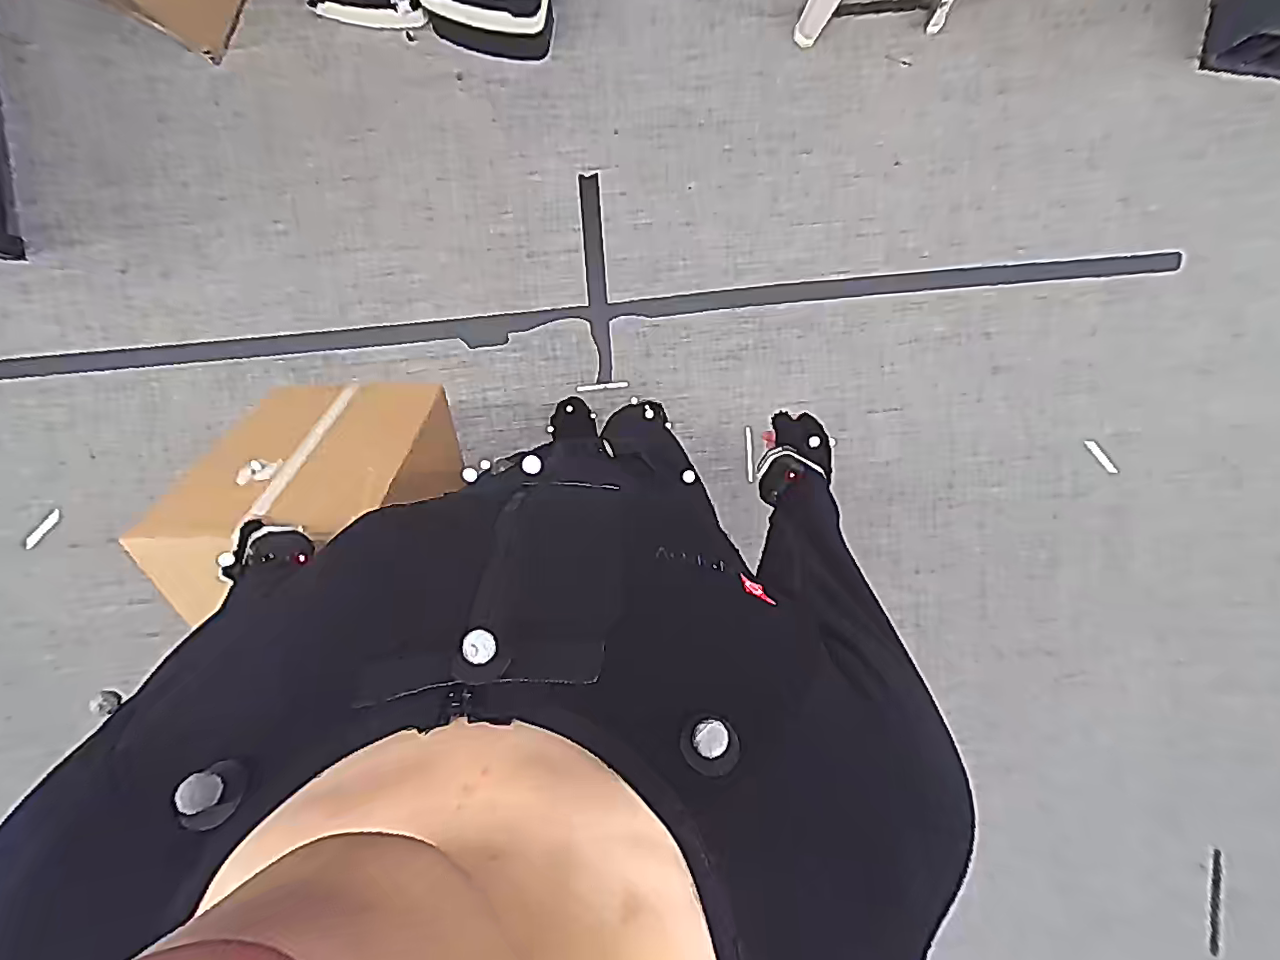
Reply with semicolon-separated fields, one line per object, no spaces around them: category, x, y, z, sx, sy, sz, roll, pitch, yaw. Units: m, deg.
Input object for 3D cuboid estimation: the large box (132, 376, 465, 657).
large box;-0.525;0.052;0.955;0.320;0.408;0.320;-2;131;-1
